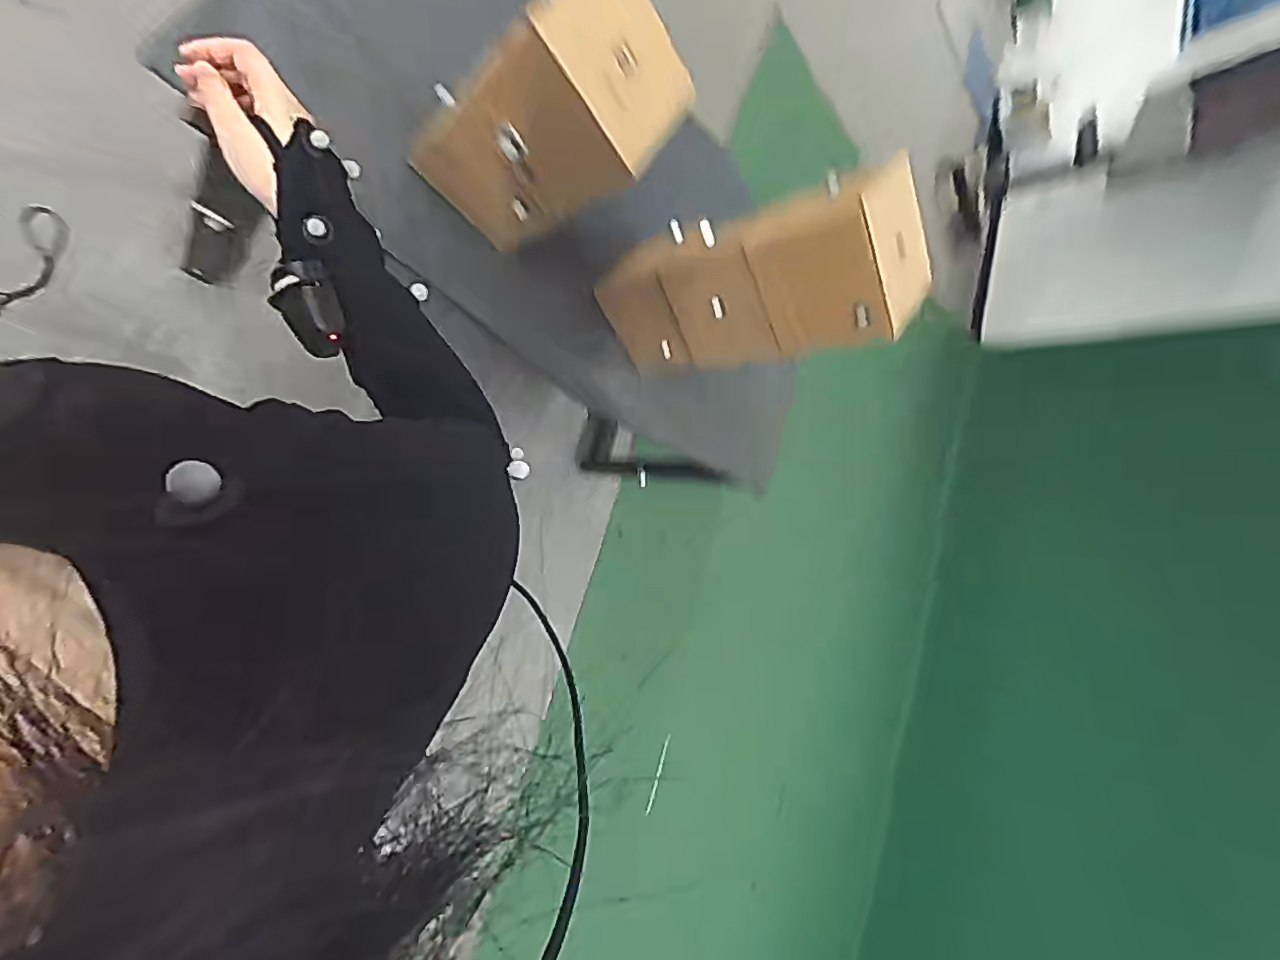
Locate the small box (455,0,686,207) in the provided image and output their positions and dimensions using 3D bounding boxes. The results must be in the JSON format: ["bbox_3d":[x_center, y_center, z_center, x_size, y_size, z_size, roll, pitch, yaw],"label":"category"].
[{"bbox_3d":[-0.083,-0.462,0.630,0.168,0.176,0.179,43,65,-35],"label":"small box"}]

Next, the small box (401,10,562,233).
[{"bbox_3d":[-0.192,-0.472,0.750,0.179,0.176,0.168,38,67,-38],"label":"small box"}]

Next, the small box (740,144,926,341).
[{"bbox_3d":[0.262,-0.310,0.735,0.168,0.176,0.179,-49,124,-30],"label":"small box"}]

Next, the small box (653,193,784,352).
[{"bbox_3d":[0.153,-0.317,0.855,0.168,0.176,0.179,-46,122,-32],"label":"small box"}]
